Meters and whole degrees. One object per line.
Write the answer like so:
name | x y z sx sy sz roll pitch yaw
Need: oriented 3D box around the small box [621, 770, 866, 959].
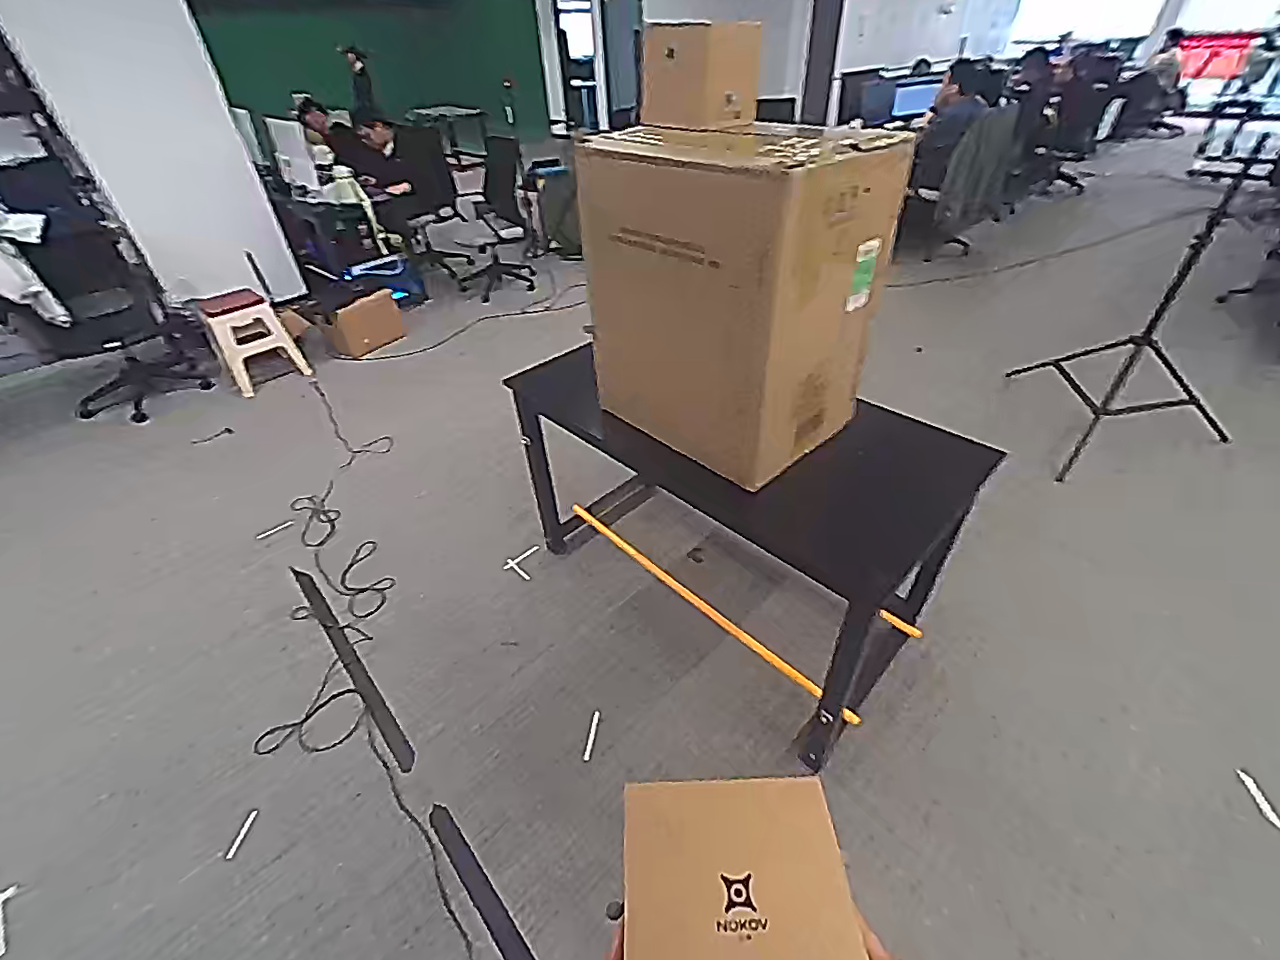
small box | 0.070 0.363 0.436 0.168 0.176 0.179 -3 38 0

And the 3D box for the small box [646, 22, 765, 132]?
small box | 0.126 -0.819 1.104 0.168 0.176 0.179 -31 48 -32
